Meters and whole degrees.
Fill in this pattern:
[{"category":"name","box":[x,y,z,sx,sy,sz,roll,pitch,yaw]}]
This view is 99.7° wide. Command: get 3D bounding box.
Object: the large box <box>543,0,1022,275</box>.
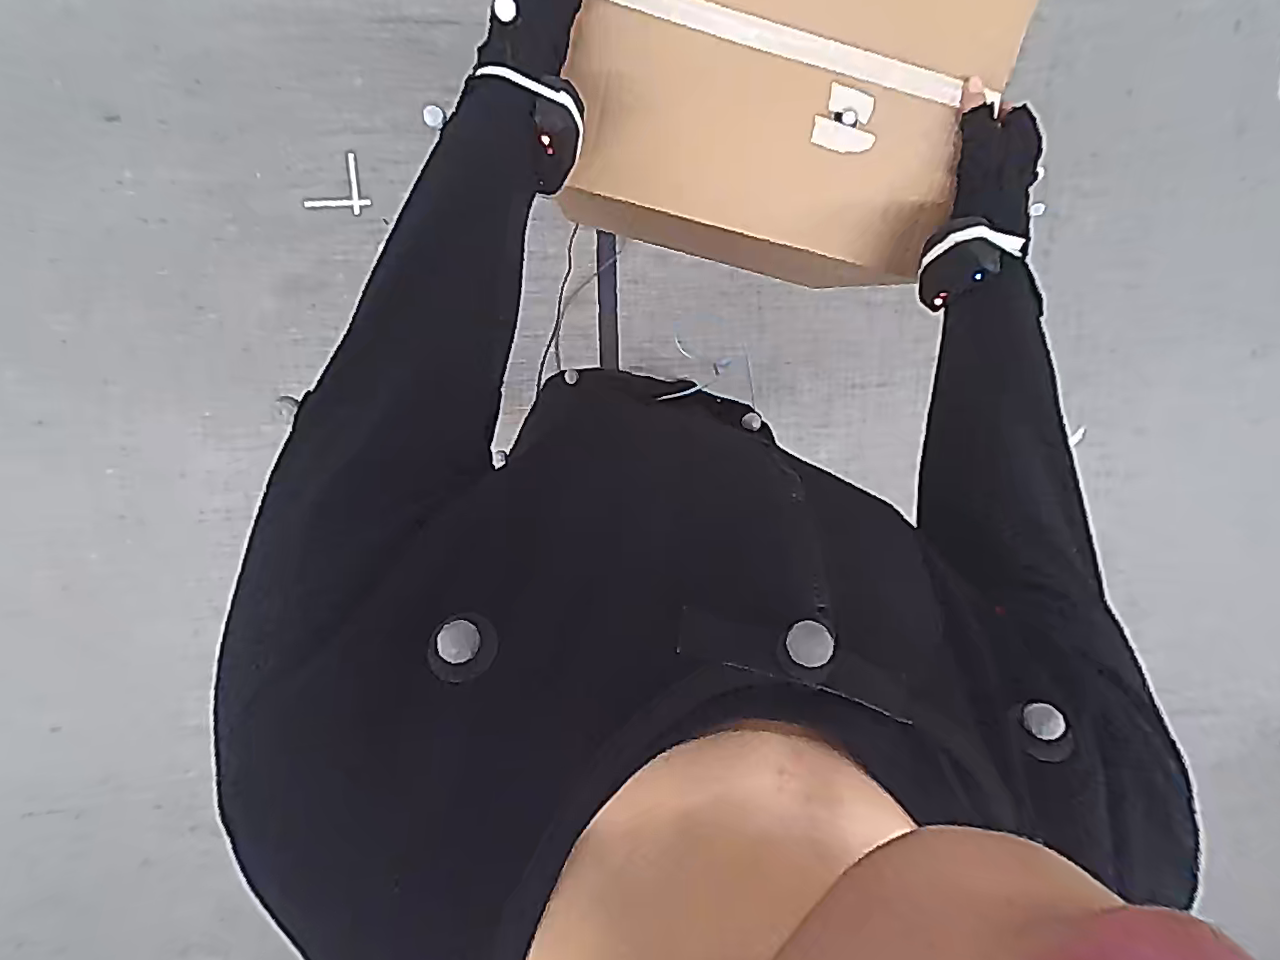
[{"category":"large box","box":[0.123,-0.444,0.626,0.408,0.320,0.320,12,109,-7]}]
